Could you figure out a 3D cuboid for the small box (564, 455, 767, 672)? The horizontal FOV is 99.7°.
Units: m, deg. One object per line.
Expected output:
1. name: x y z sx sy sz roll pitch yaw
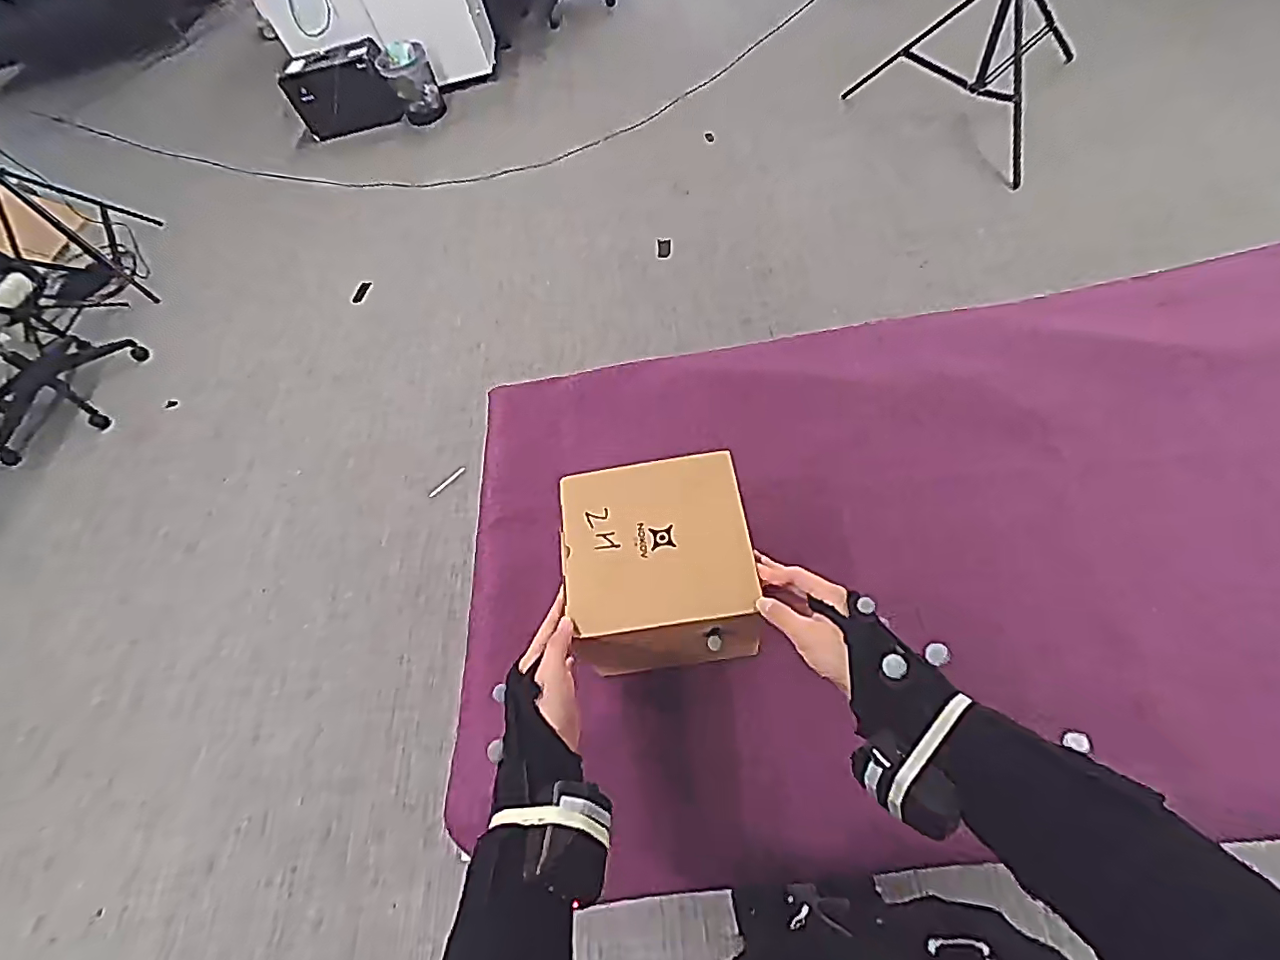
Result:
1. small box: 0.025 0.096 0.573 0.179 0.176 0.168 -9 59 4
